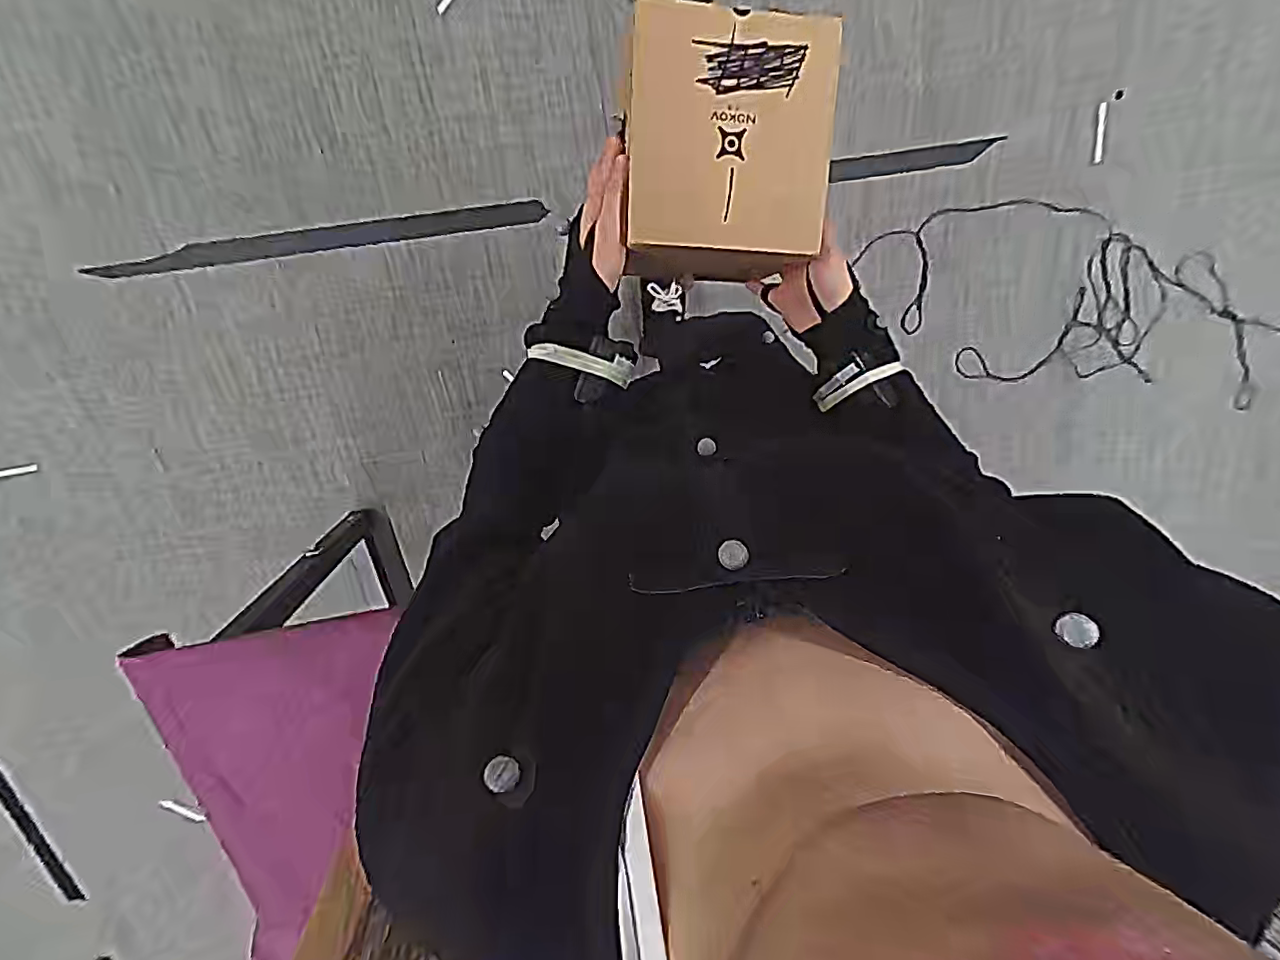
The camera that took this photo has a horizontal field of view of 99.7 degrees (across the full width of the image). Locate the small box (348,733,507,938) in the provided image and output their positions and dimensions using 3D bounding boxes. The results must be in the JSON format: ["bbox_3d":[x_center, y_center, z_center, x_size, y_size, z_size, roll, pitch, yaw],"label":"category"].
[{"bbox_3d":[-0.291,0.503,0.784,0.168,0.176,0.179,-6,108,-7],"label":"small box"}]

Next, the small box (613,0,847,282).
[{"bbox_3d":[0.065,-0.292,0.500,0.168,0.176,0.179,1,103,-8],"label":"small box"}]
